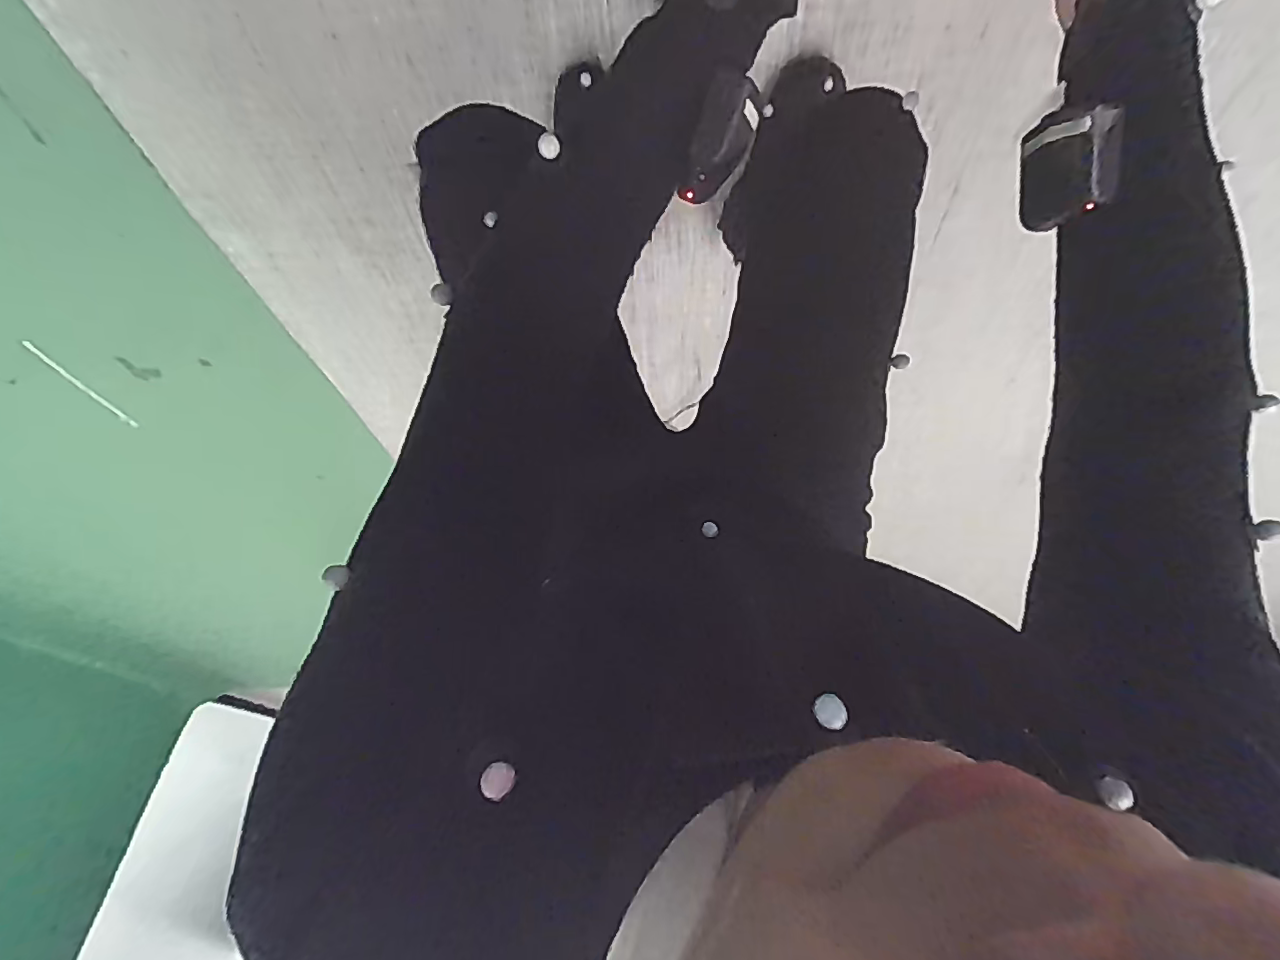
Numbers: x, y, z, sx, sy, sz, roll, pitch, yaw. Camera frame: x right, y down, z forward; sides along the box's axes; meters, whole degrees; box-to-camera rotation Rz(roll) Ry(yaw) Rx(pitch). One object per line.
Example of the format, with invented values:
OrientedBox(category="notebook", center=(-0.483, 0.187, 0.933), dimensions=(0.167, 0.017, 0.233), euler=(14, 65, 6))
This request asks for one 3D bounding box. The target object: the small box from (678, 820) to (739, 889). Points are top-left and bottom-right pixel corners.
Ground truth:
OrientedBox(category="small box", center=(0.218, 1.180, 1.710), dimensions=(0.179, 0.176, 0.168), euler=(-6, 147, 12))
